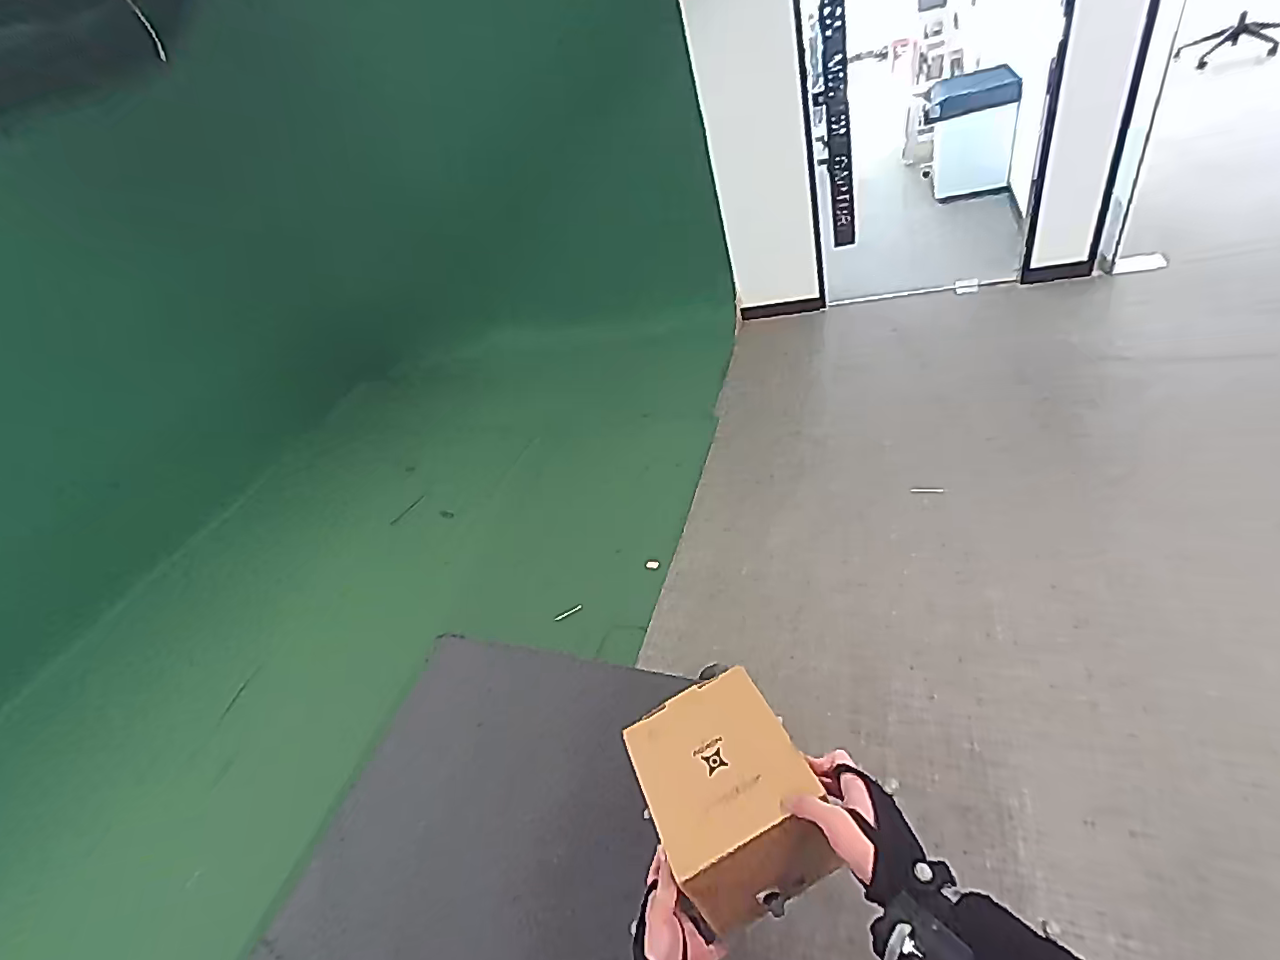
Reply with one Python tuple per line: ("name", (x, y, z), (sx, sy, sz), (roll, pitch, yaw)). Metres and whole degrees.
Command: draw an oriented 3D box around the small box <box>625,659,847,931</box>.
("small box", (0.105, 0.348, 0.609), (0.168, 0.176, 0.179), (-27, 31, -4))
